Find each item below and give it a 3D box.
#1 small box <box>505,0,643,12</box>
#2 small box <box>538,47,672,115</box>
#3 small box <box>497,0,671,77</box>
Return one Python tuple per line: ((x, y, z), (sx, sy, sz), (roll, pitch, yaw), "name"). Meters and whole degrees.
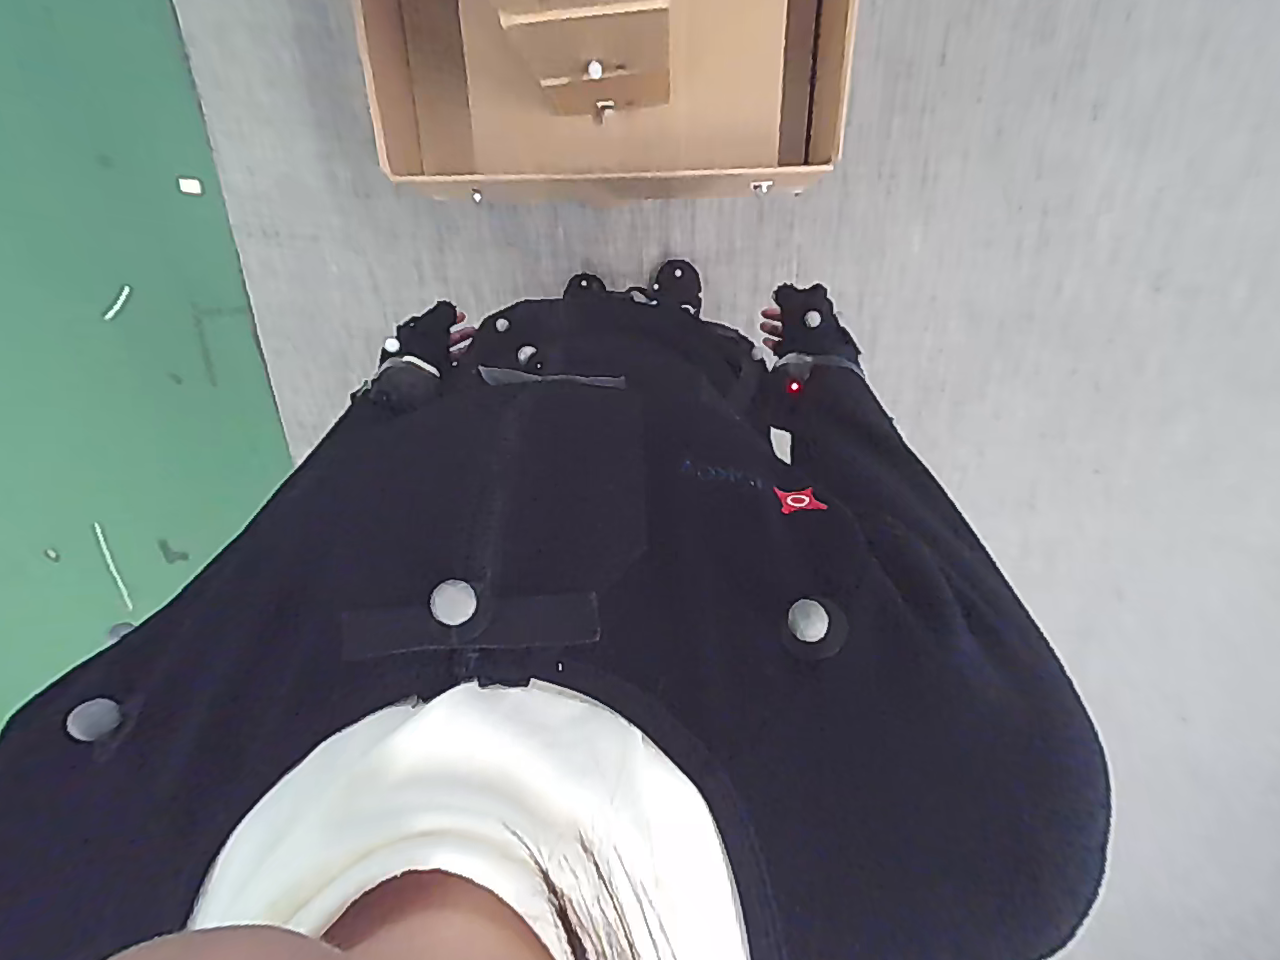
((-0.063, -0.496, 0.398), (0.168, 0.176, 0.179), (-2, 110, 5), "small box")
((-0.047, -0.607, 0.706), (0.168, 0.176, 0.179), (-4, 112, 5), "small box")
((-0.053, -0.548, 0.553), (0.168, 0.176, 0.179), (-2, 112, 5), "small box")
